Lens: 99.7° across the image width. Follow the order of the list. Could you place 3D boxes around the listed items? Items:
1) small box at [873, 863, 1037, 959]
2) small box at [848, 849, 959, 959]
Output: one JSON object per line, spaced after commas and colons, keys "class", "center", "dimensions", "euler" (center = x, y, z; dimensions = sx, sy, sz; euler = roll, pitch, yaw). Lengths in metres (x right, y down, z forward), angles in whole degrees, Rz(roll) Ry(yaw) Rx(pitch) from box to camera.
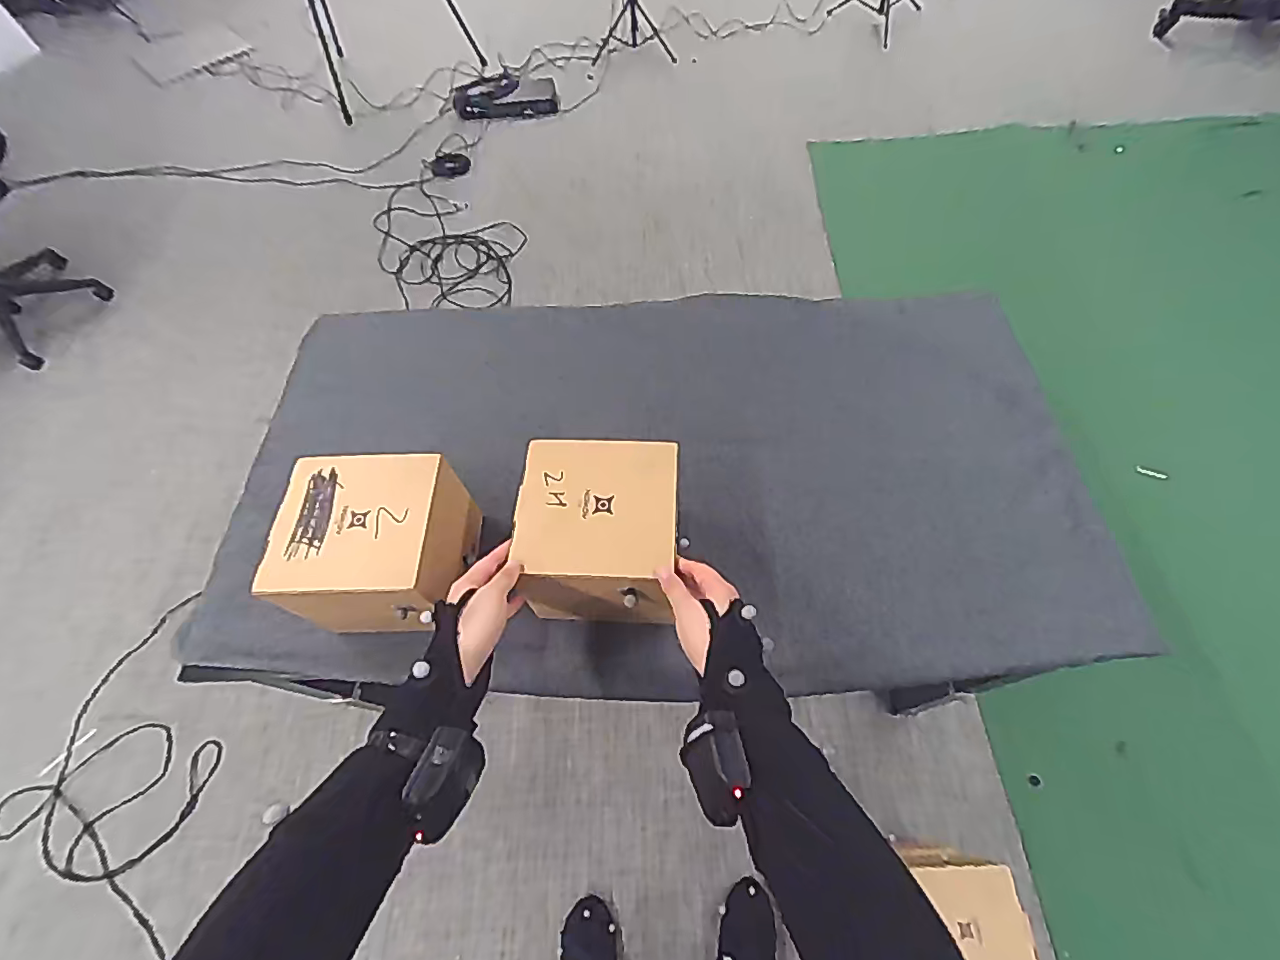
{"class": "small box", "center": [0.509, 0.738, 0.884], "dimensions": [0.179, 0.176, 0.168], "euler": [-2, 61, 3]}
{"class": "small box", "center": [0.515, 0.818, 1.029], "dimensions": [0.168, 0.176, 0.179], "euler": [-4, 59, 2]}
